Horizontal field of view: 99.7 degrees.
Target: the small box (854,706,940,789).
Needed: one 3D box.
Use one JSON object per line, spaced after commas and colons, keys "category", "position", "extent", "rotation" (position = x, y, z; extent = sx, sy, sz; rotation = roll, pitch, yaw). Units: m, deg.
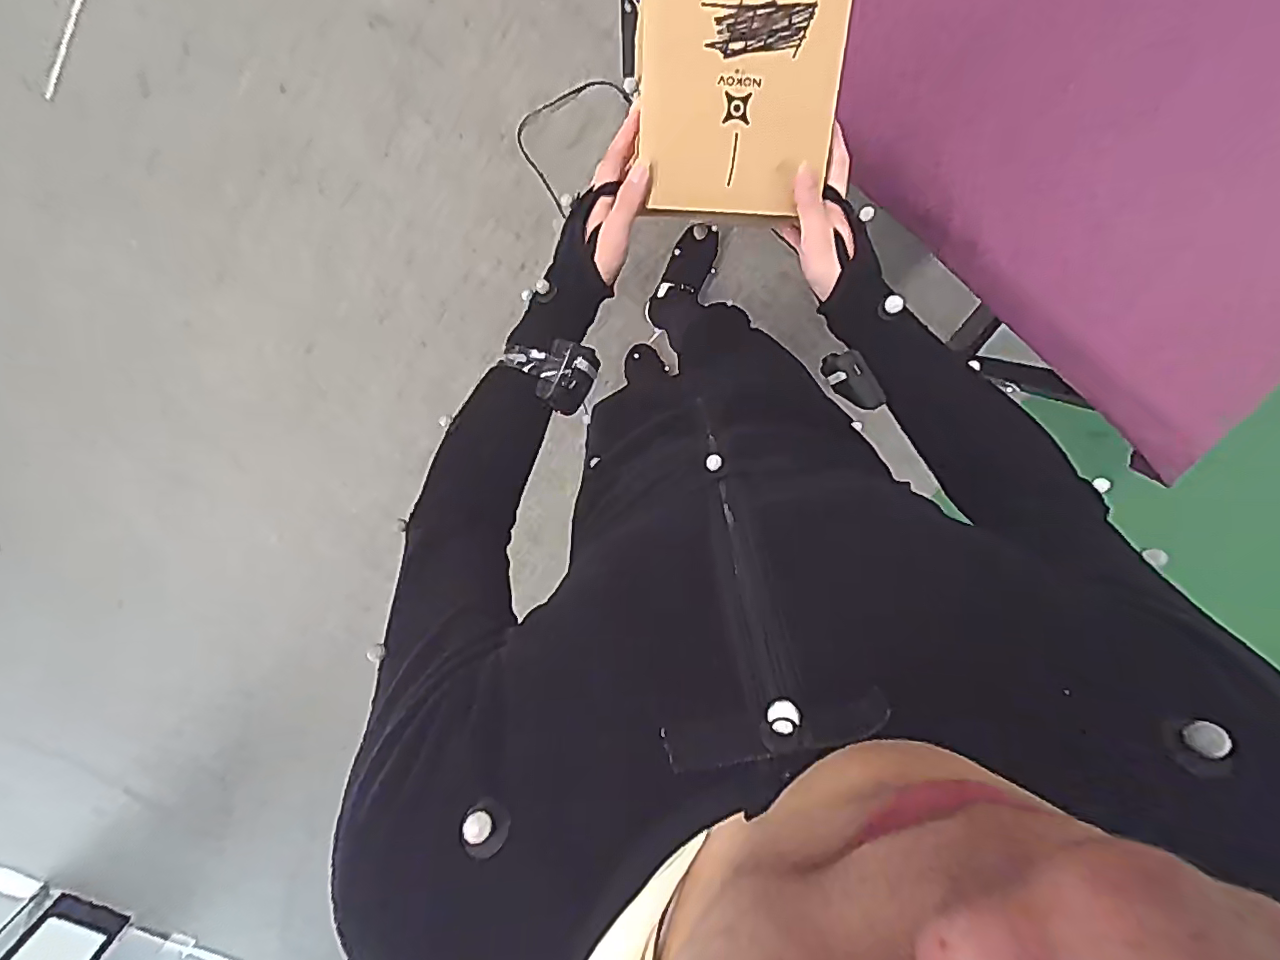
{"category": "small box", "position": [0.897, 0.934, 1.901], "extent": [0.179, 0.176, 0.168], "rotation": [37, 104, -12]}
